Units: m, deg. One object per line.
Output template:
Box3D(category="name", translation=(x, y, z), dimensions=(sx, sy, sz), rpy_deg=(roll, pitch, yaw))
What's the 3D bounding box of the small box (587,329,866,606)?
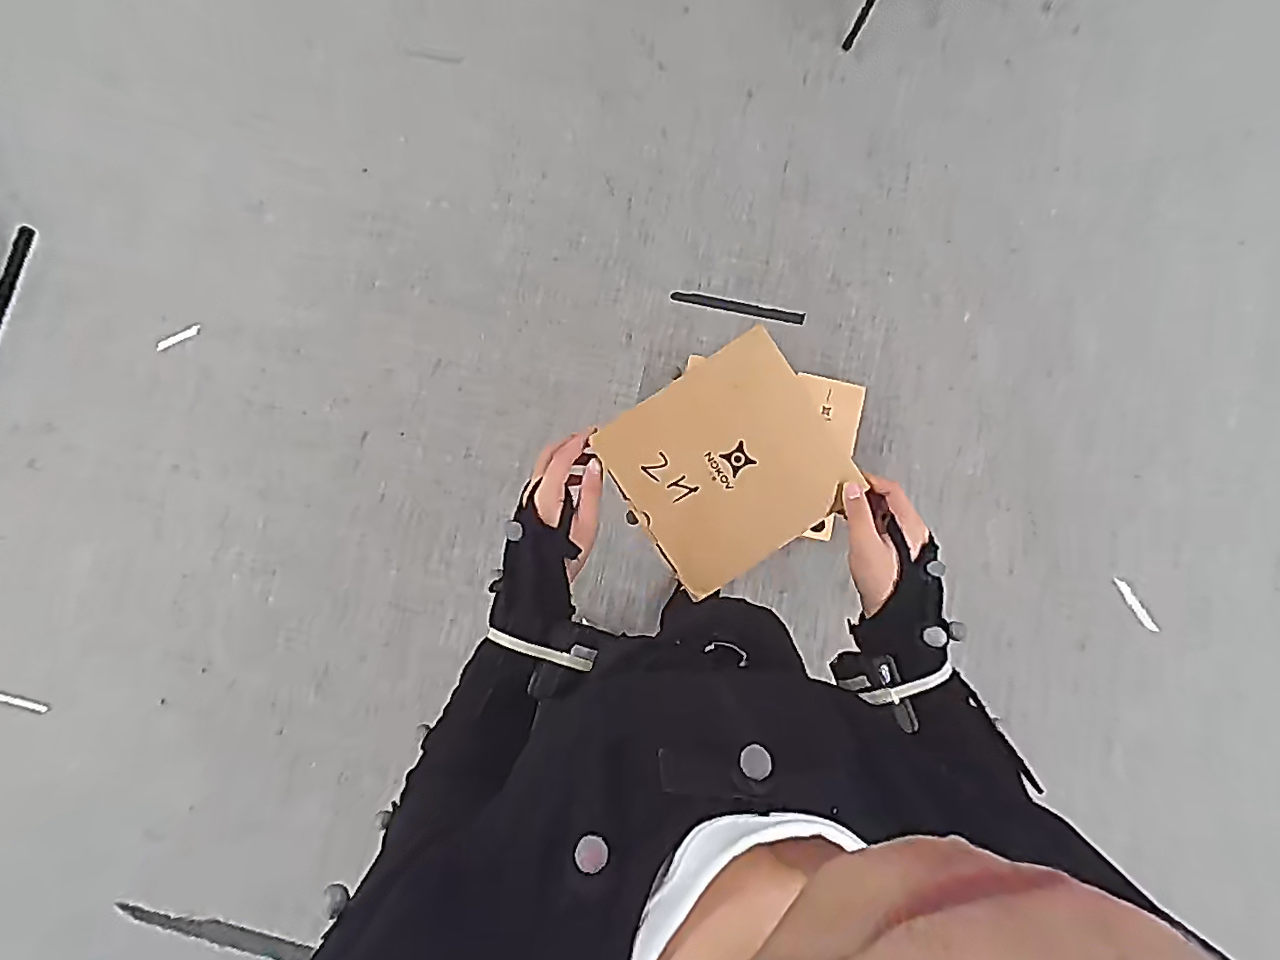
Box3D(category="small box", translation=(0.069, -0.012, 0.517), dimensions=(0.179, 0.176, 0.168), rpy_deg=(-34, 90, 1))
